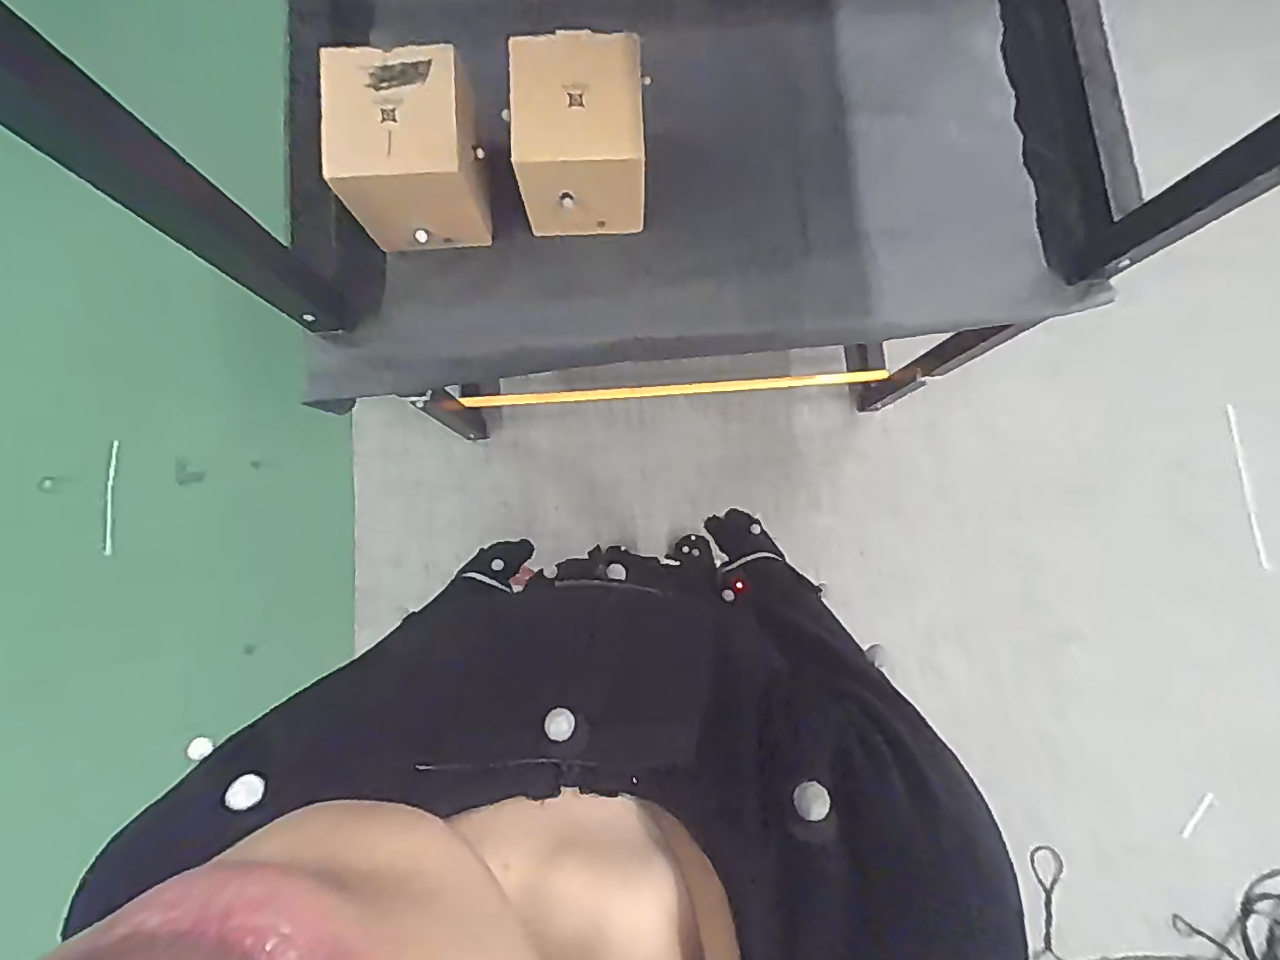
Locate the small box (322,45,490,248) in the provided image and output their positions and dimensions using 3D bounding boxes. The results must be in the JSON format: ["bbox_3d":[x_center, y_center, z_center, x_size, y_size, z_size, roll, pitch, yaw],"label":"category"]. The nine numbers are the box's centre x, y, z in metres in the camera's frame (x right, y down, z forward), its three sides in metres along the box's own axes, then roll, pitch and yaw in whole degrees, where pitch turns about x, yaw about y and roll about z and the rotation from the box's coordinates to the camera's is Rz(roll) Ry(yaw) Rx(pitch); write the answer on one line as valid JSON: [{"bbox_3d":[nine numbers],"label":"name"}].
[{"bbox_3d":[-0.310,-0.448,0.746,0.168,0.176,0.179,-4,84,-2],"label":"small box"}]

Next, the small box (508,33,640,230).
[{"bbox_3d":[-0.085,-0.472,0.757,0.168,0.176,0.179,-3,83,-2],"label":"small box"}]
